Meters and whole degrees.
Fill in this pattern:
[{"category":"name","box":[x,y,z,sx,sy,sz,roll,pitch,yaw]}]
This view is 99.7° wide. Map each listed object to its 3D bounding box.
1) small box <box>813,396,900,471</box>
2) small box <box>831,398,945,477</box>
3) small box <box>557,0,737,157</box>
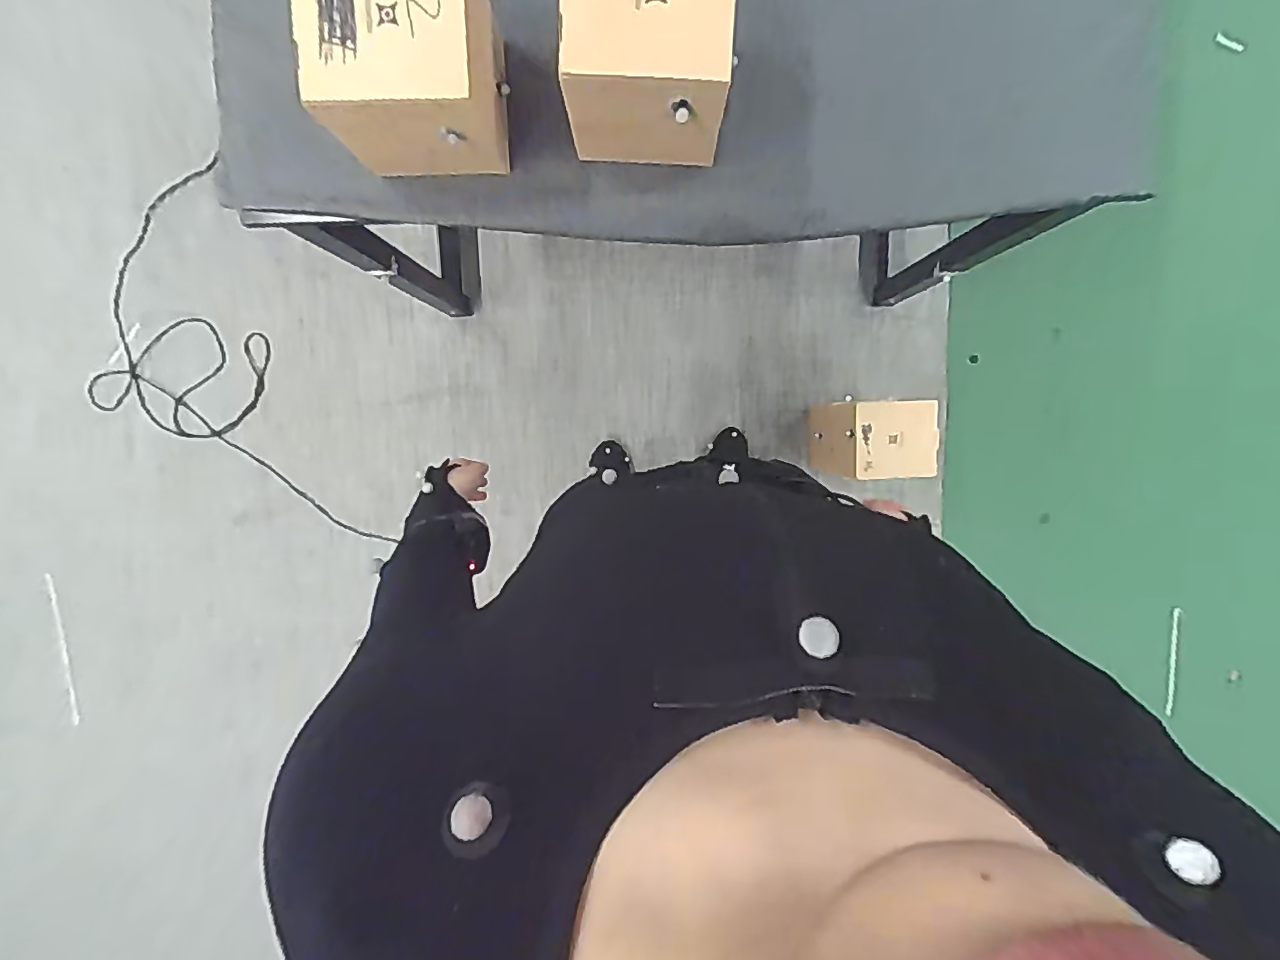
[{"category":"small box","box":[0.545,-0.121,1.374,0.168,0.176,0.179,-3,95,1]},{"category":"small box","box":[0.546,-0.100,1.211,0.179,0.176,0.168,-1,98,1]},{"category":"small box","box":[0.011,-0.490,0.608,0.179,0.176,0.168,4,95,2]}]
